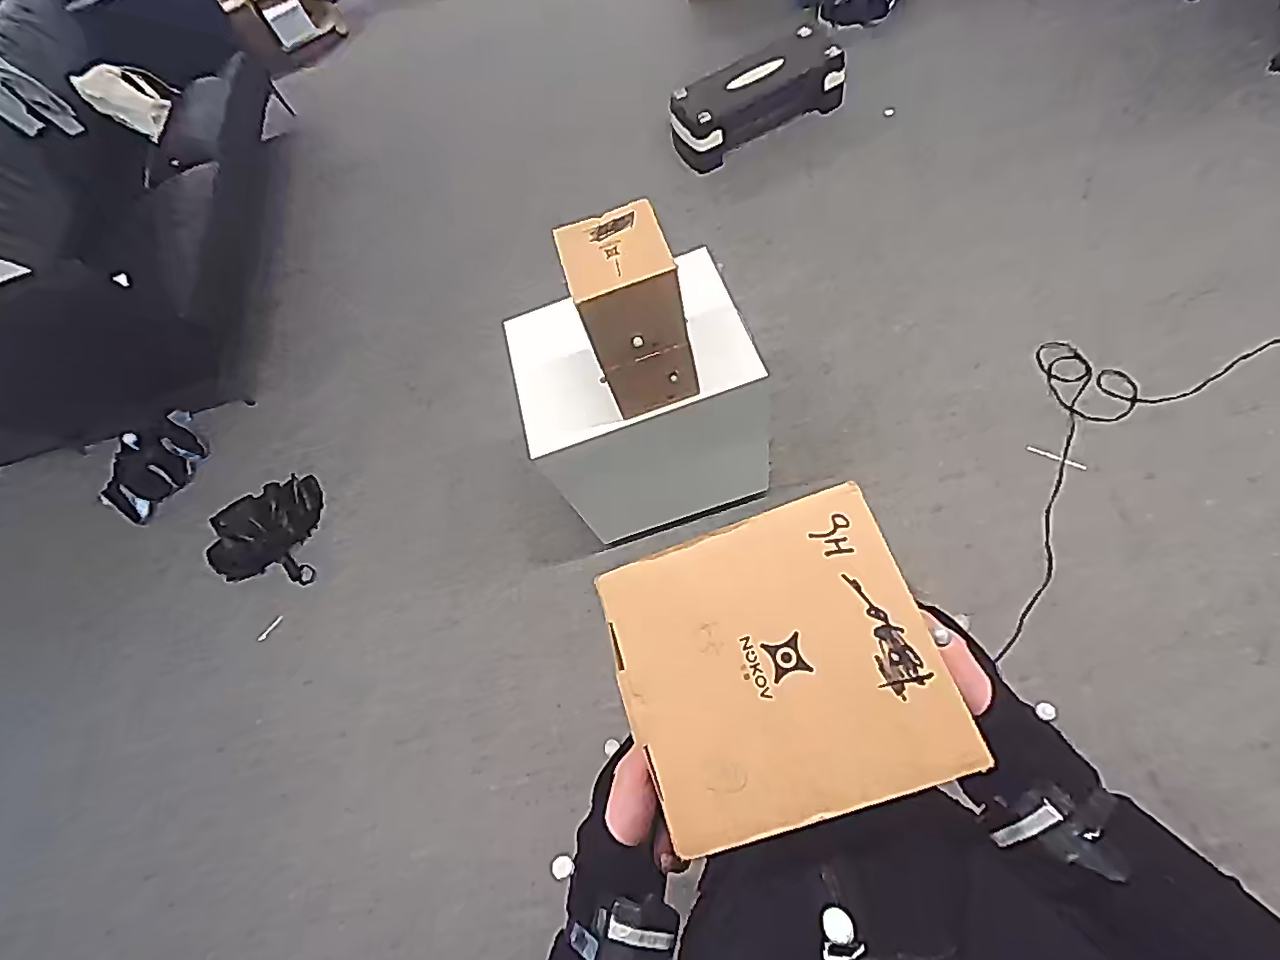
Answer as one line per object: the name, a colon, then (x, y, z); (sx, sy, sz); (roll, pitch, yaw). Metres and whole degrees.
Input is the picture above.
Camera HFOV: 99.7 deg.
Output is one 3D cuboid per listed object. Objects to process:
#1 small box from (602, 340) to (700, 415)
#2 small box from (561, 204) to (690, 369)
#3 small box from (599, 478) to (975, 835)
small box: (0.012, -0.249, 1.067); (0.168, 0.176, 0.179); (-19, 60, 3)
small box: (-0.021, -0.323, 0.923); (0.168, 0.176, 0.179); (-18, 62, 4)
small box: (0.094, 0.122, 0.393); (0.179, 0.176, 0.168); (-21, 70, 8)
